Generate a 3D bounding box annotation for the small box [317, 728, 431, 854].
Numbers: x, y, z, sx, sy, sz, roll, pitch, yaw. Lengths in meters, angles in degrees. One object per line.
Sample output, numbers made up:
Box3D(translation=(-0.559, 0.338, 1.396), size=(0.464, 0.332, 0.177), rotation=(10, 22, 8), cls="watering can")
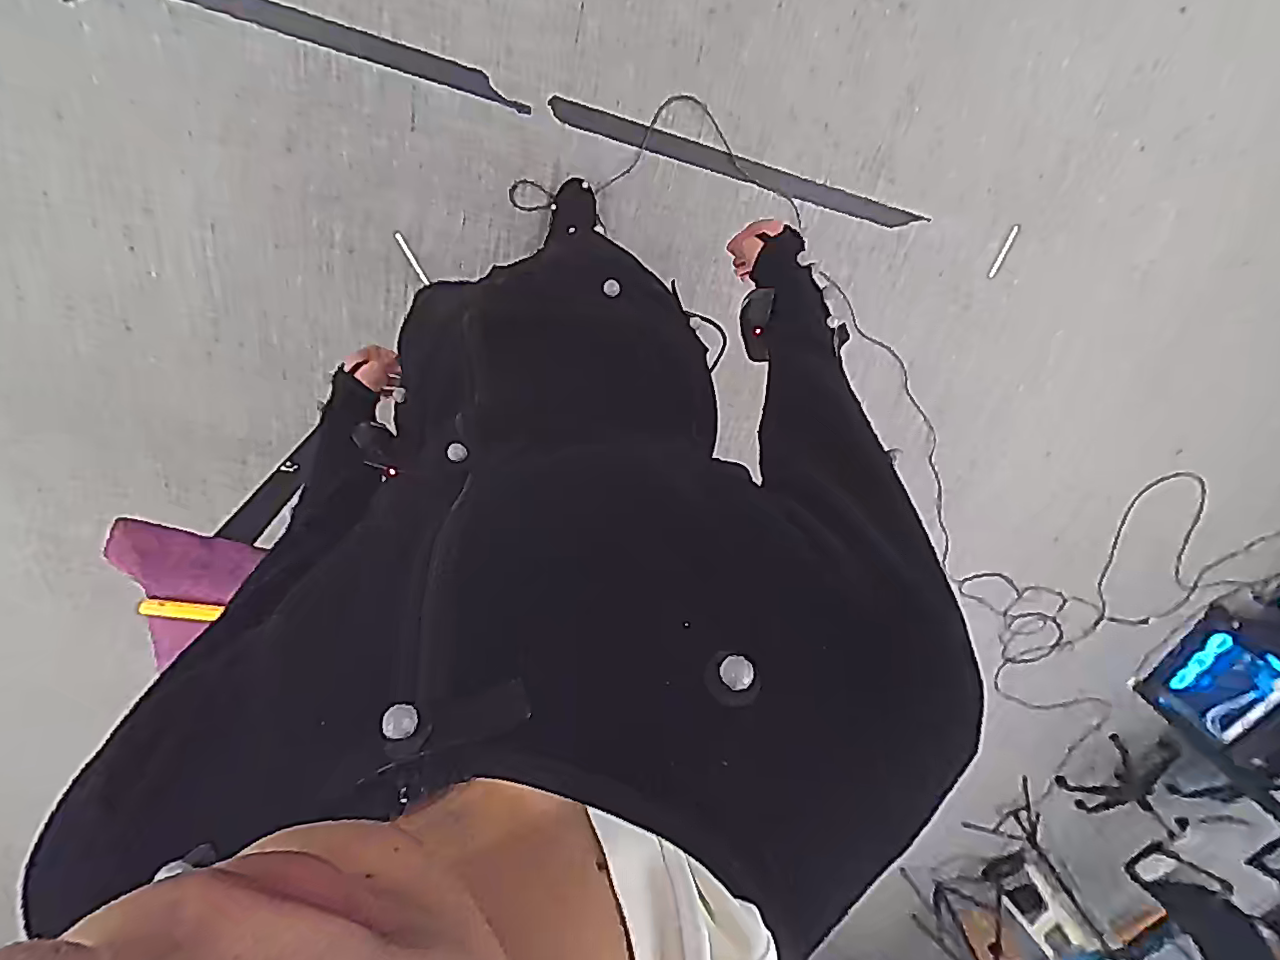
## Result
Box3D(translation=(-0.542, 0.638, 1.119), size=(0.179, 0.176, 0.168), rotation=(10, 116, -13), cls="small box")
